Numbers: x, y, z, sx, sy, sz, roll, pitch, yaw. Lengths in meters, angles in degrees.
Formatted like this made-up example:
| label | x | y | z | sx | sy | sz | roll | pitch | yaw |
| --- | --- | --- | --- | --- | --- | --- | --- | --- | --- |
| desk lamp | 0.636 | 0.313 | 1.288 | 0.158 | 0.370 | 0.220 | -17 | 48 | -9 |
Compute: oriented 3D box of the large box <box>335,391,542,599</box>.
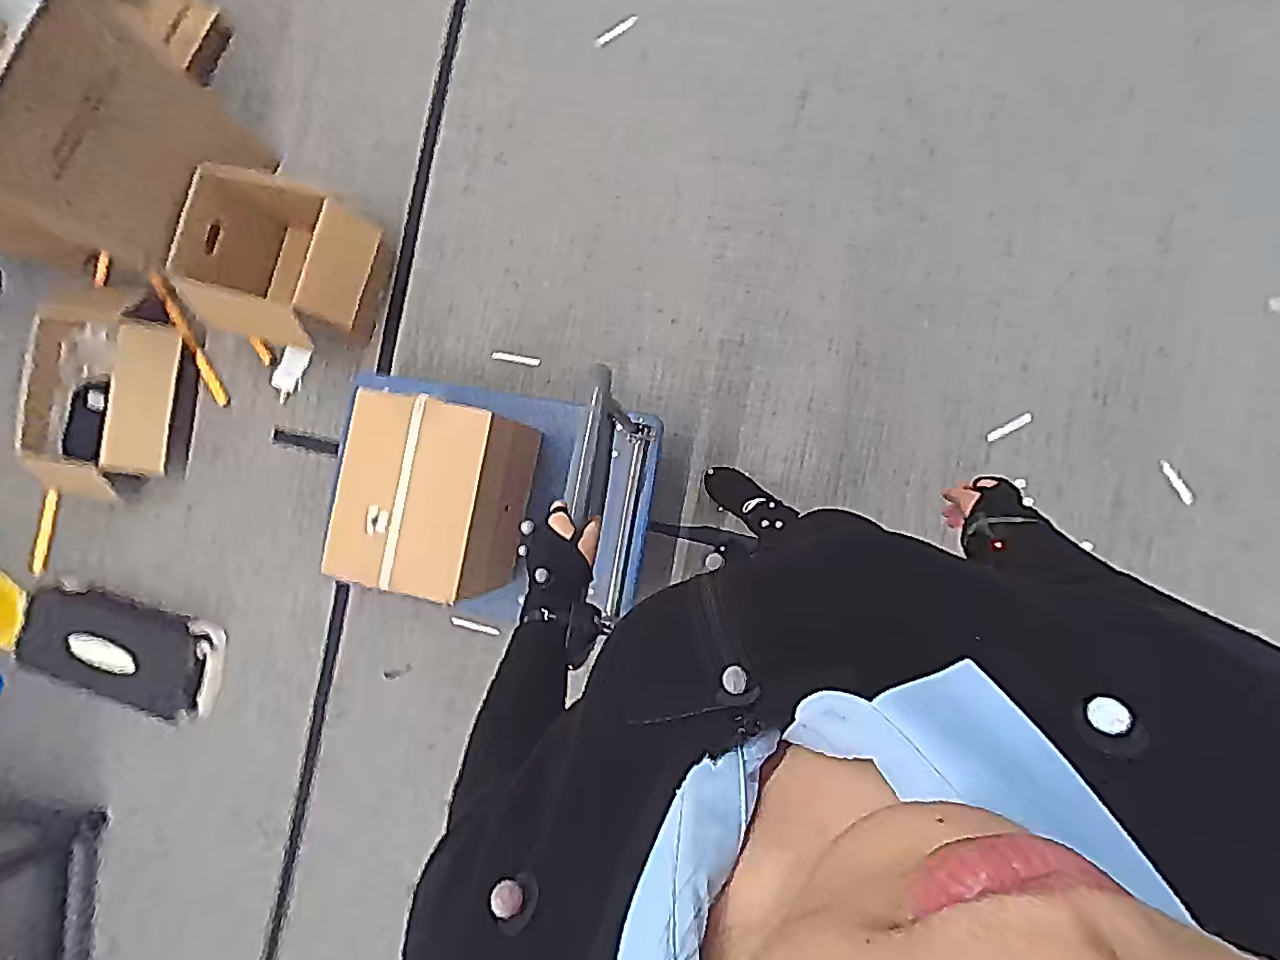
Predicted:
| label | x | y | z | sx | sy | sz | roll | pitch | yaw |
| --- | --- | --- | --- | --- | --- | --- | --- | --- | --- |
| large box | -0.453 | 0.030 | 1.282 | 0.320 | 0.320 | 0.408 | 10 | 90 | 10 |
